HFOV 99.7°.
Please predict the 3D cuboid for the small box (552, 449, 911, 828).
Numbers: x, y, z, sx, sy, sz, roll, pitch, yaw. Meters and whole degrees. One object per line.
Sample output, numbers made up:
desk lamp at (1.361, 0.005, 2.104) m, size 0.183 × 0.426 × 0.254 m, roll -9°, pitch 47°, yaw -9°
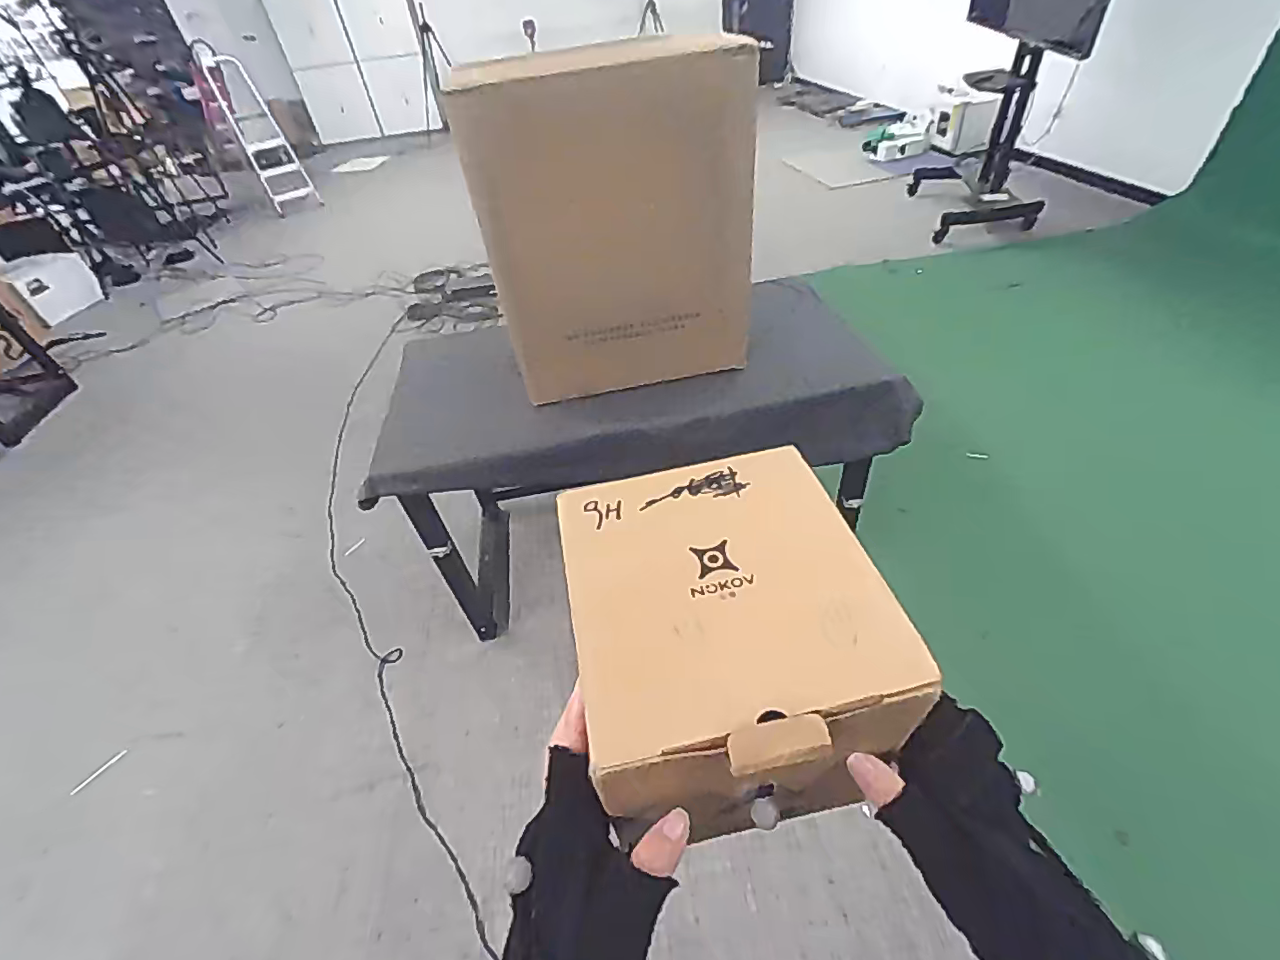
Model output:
small box at (0.042, 0.109, 0.361) m, size 0.168 × 0.176 × 0.179 m, roll -10°, pitch 45°, yaw -4°
